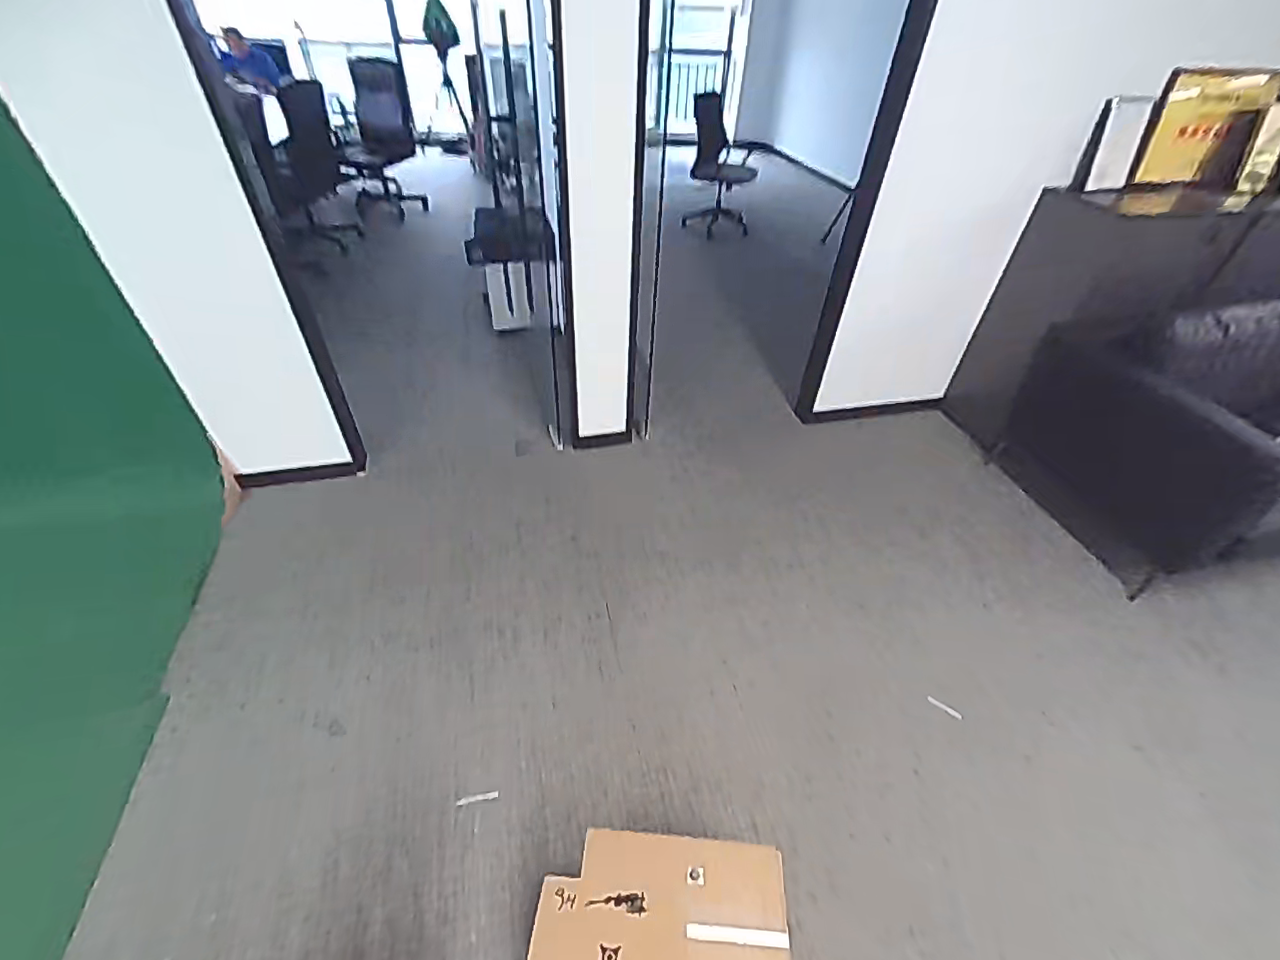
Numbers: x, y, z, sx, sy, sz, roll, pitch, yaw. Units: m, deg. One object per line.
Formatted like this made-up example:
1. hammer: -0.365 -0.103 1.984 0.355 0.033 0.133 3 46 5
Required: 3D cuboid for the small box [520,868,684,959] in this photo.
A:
1. small box: -0.043 0.555 0.561 0.168 0.176 0.179 6 18 1
